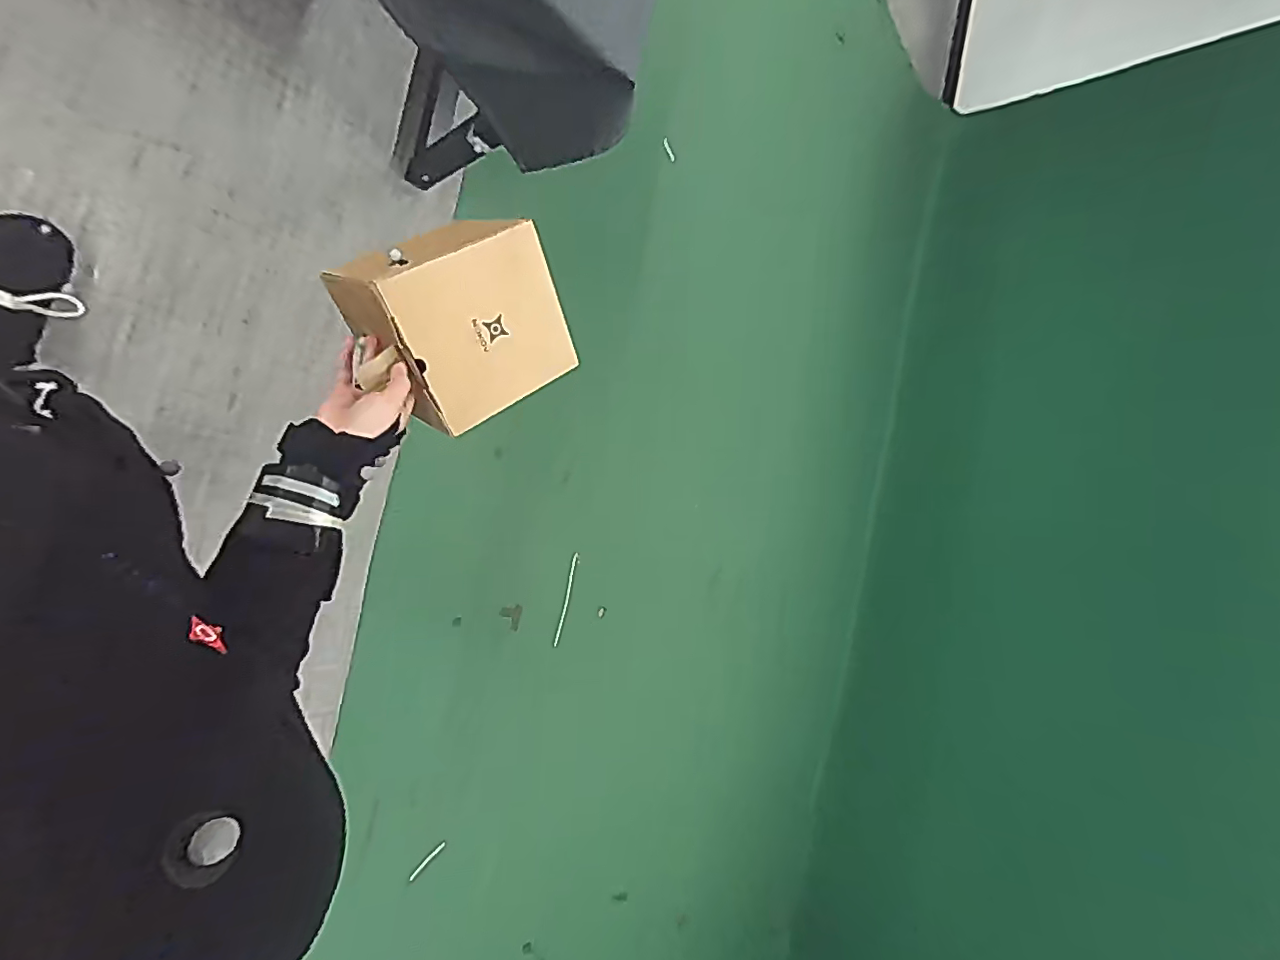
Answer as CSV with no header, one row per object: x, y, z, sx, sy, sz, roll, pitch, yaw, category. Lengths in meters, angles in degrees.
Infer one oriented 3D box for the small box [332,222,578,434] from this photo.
-0.204,-0.181,0.608,0.179,0.176,0.168,-37,131,-26,small box
